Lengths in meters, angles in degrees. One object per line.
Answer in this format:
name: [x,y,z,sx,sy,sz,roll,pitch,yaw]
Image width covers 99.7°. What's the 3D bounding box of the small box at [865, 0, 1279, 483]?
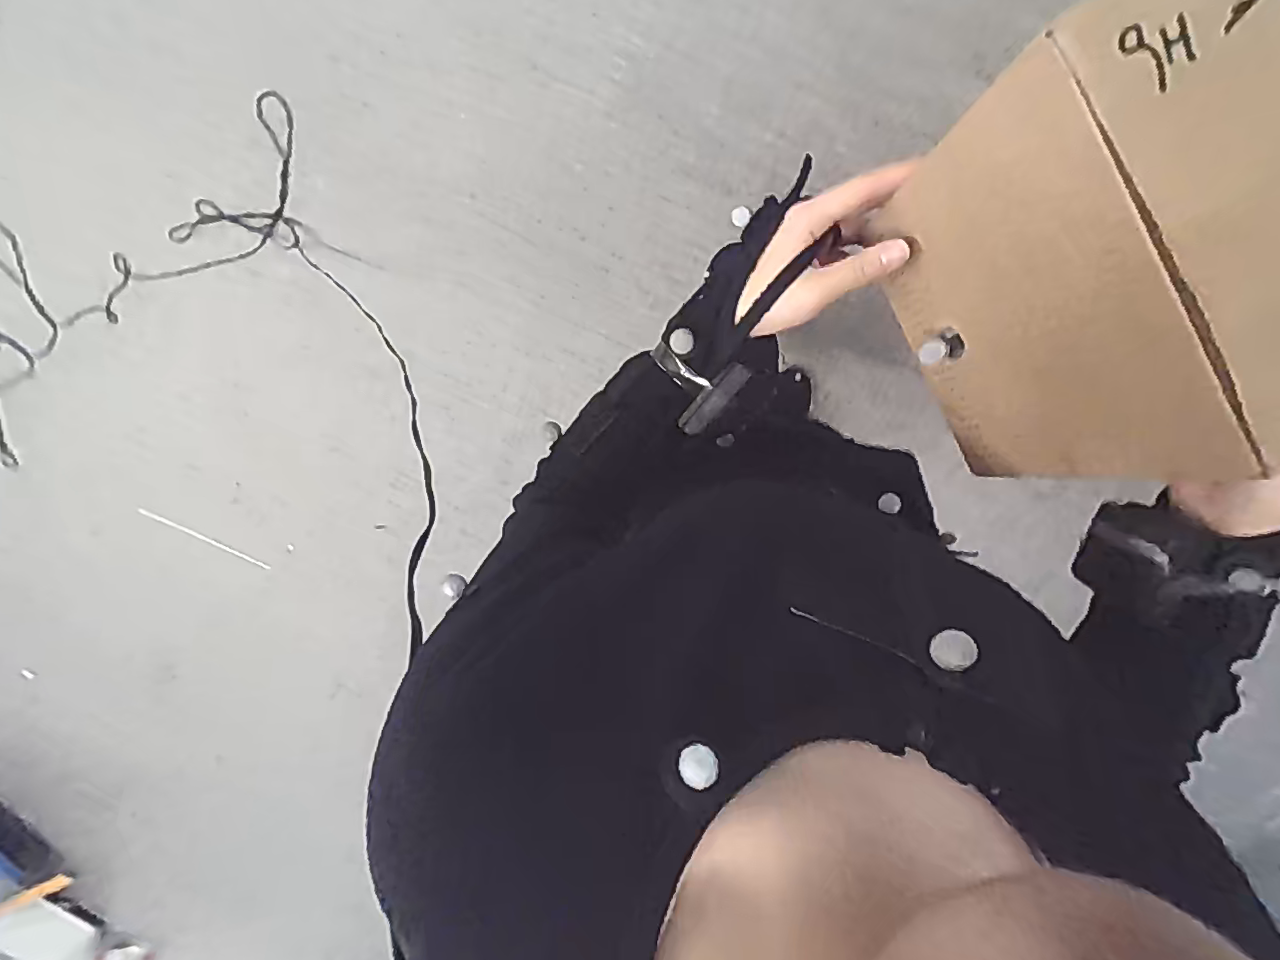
small box: [0.248,-0.111,0.270,0.168,0.176,0.179,-25,90,0]
